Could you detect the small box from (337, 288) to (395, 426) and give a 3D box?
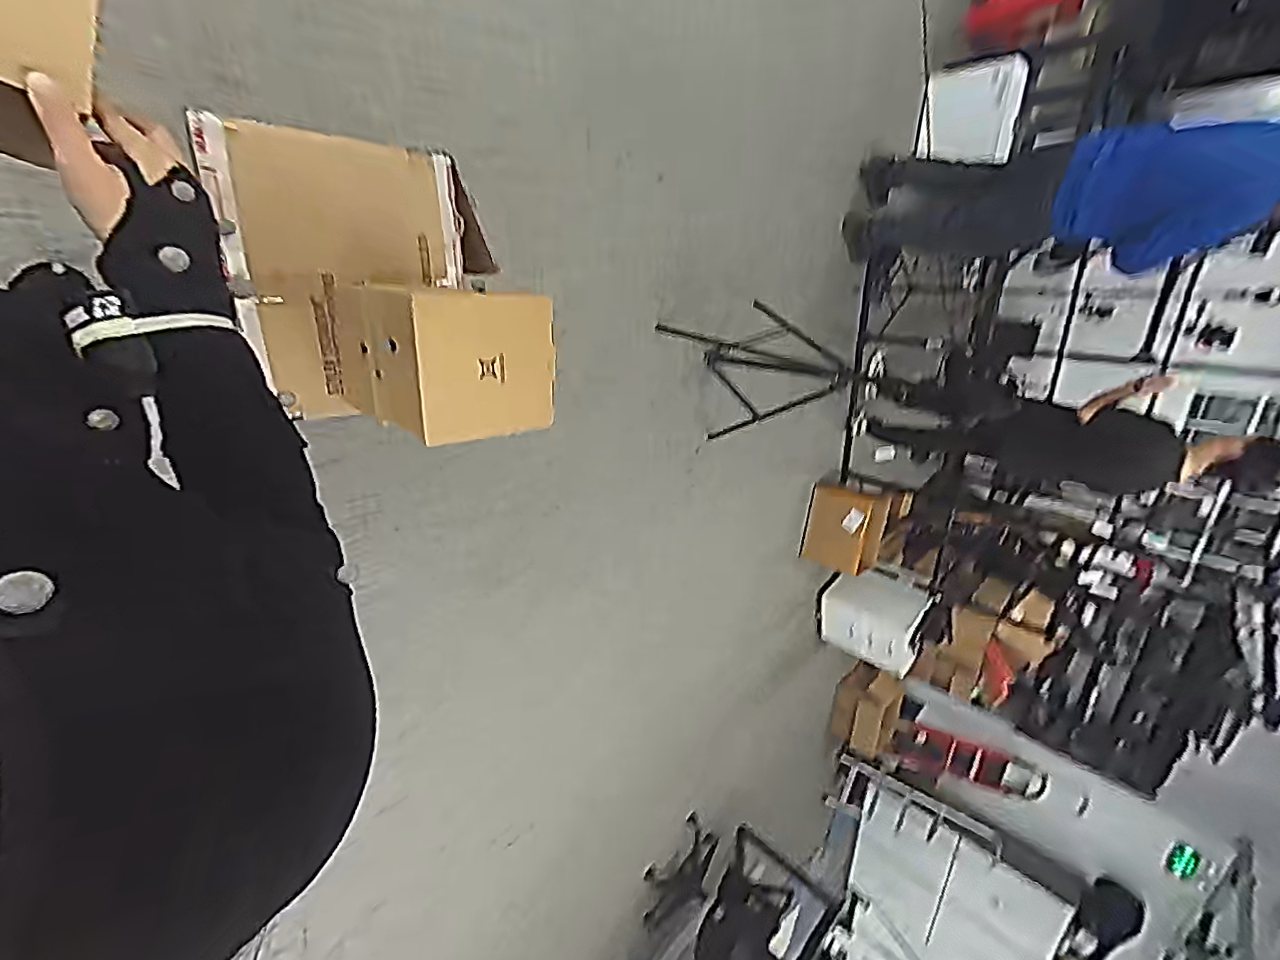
[{"bbox_3d":[-0.336,-0.189,0.808,0.168,0.176,0.179,-12,115,-42],"label":"small box"}]

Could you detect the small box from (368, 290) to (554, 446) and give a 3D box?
[{"bbox_3d":[-0.230,-0.151,0.691,0.179,0.176,0.168,-16,117,-41],"label":"small box"}]

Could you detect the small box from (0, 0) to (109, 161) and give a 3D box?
[{"bbox_3d":[-0.454,-0.325,0.324,0.179,0.176,0.168,4,95,-54],"label":"small box"}]
